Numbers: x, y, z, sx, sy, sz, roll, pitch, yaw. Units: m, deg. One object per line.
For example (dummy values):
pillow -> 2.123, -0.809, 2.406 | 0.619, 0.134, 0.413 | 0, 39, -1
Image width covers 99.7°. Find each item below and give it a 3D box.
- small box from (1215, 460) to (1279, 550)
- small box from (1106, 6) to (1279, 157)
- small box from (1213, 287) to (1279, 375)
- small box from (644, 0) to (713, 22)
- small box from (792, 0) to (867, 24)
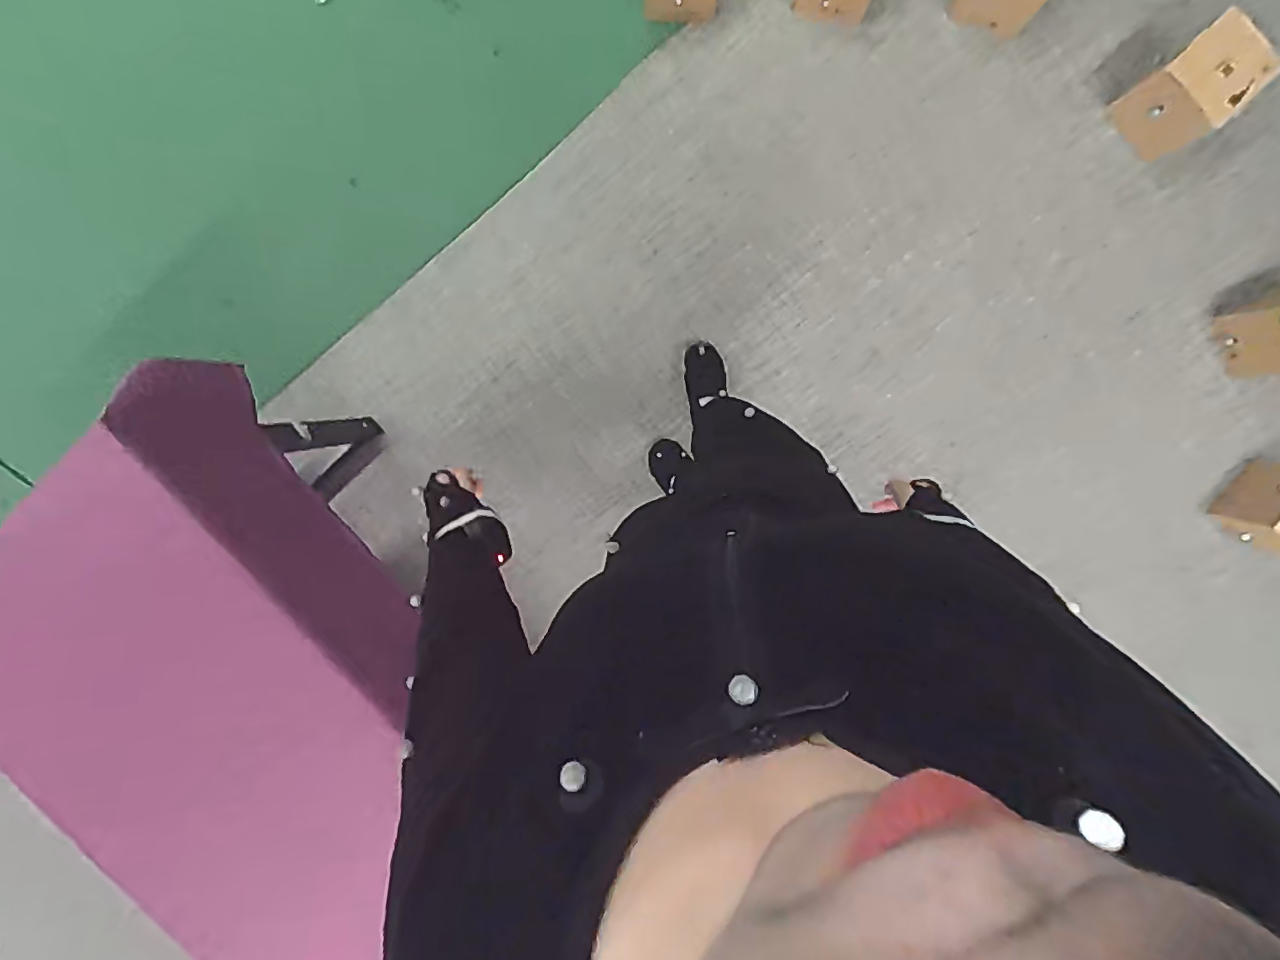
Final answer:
small box -> 1.586, 0.068, 1.310 | 0.168, 0.176, 0.179 | 34, 99, -1
small box -> 1.213, -0.870, 1.204 | 0.168, 0.176, 0.179 | -44, 92, 9
small box -> 1.517, -0.356, 1.256 | 0.179, 0.176, 0.168 | -24, 95, 7
small box -> 0.089, -1.194, 1.239 | 0.168, 0.176, 0.179 | 0, 98, 3
small box -> 0.451, -1.188, 1.217 | 0.168, 0.176, 0.179 | 9, 99, 3
